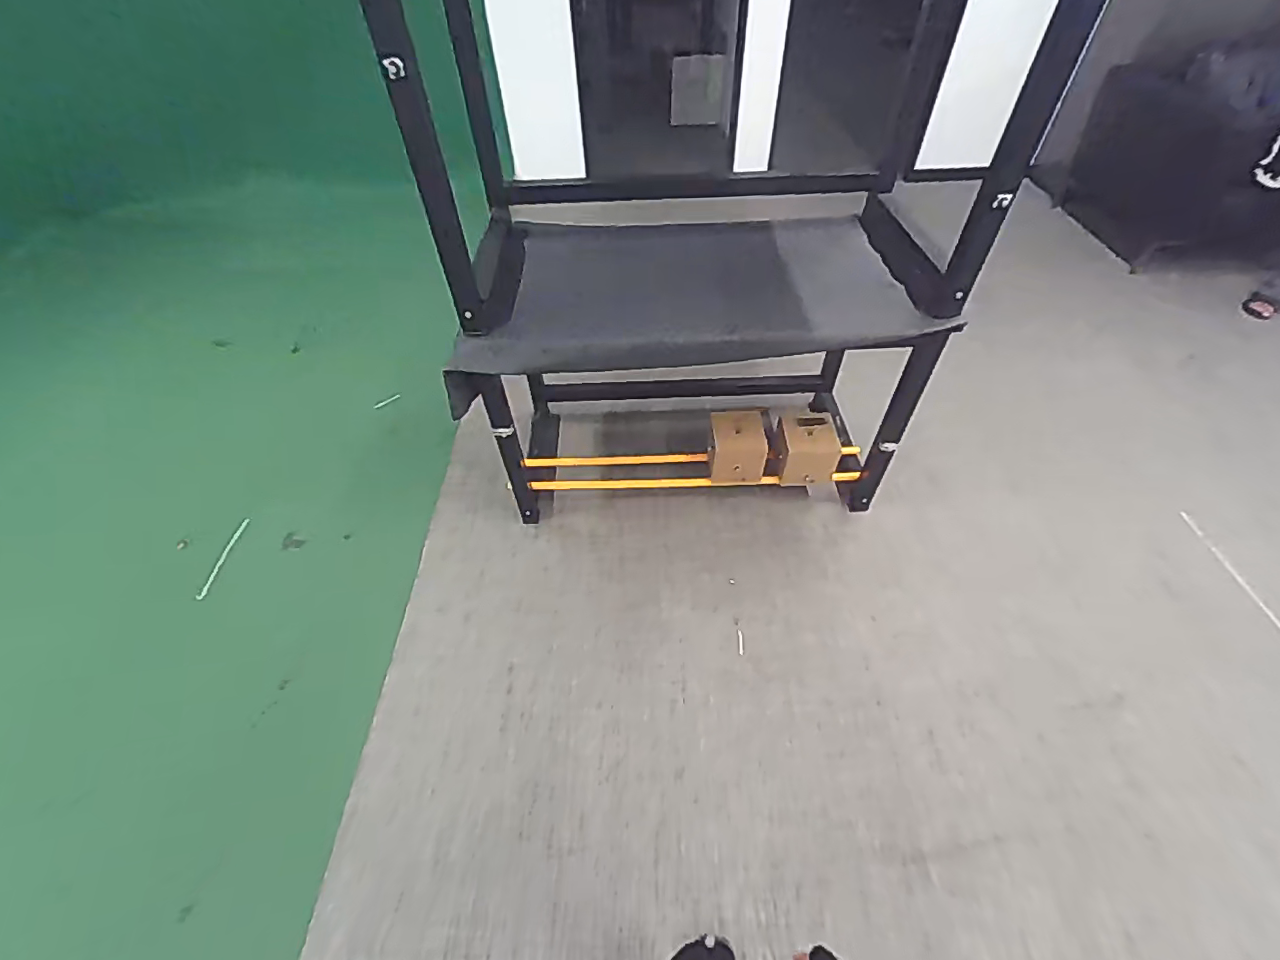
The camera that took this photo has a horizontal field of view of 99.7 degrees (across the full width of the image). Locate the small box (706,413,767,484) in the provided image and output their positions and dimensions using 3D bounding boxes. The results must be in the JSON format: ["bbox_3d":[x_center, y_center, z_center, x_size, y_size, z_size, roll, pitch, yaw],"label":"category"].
[{"bbox_3d":[0.313,-0.099,1.785,0.168,0.176,0.179,-2,49,-1],"label":"small box"}]
